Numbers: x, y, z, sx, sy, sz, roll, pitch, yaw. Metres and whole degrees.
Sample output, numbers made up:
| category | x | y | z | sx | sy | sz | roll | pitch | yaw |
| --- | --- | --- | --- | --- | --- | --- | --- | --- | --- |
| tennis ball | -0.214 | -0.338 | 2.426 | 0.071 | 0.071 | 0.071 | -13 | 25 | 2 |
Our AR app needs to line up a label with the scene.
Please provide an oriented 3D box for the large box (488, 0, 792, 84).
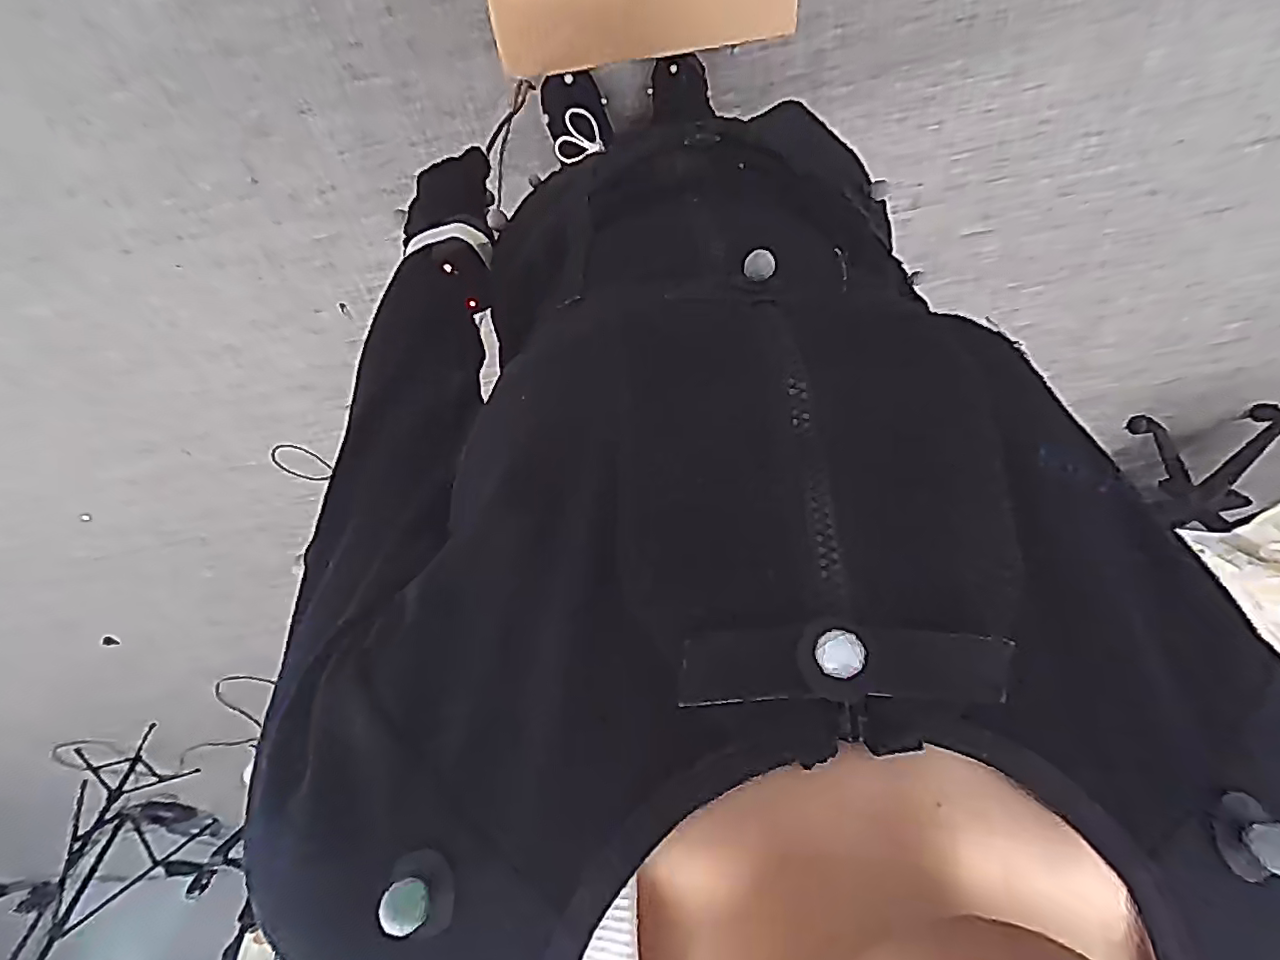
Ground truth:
| category | x | y | z | sx | sy | sz | roll | pitch | yaw |
| --- | --- | --- | --- | --- | --- | --- | --- | --- | --- |
| large box | -0.019 | -0.794 | 0.758 | 0.408 | 0.320 | 0.320 | -8 | 131 | 1 |
